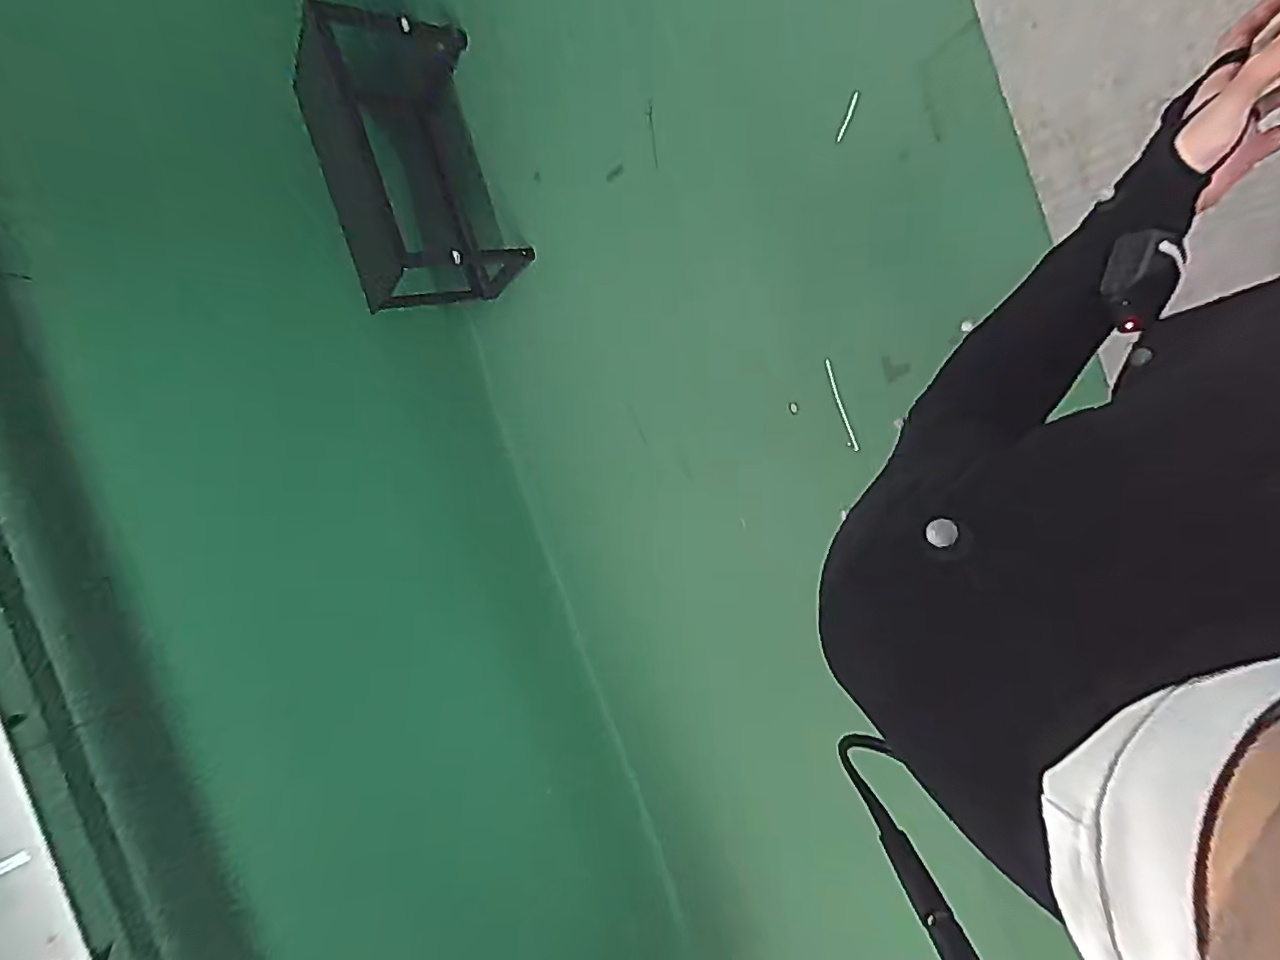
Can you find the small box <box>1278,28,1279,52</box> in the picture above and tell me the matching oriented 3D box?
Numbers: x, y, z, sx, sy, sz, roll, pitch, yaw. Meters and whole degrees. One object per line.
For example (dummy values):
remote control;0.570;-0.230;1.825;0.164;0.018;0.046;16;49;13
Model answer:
small box;0.531;-0.386;0.327;0.168;0.176;0.179;10;114;48
